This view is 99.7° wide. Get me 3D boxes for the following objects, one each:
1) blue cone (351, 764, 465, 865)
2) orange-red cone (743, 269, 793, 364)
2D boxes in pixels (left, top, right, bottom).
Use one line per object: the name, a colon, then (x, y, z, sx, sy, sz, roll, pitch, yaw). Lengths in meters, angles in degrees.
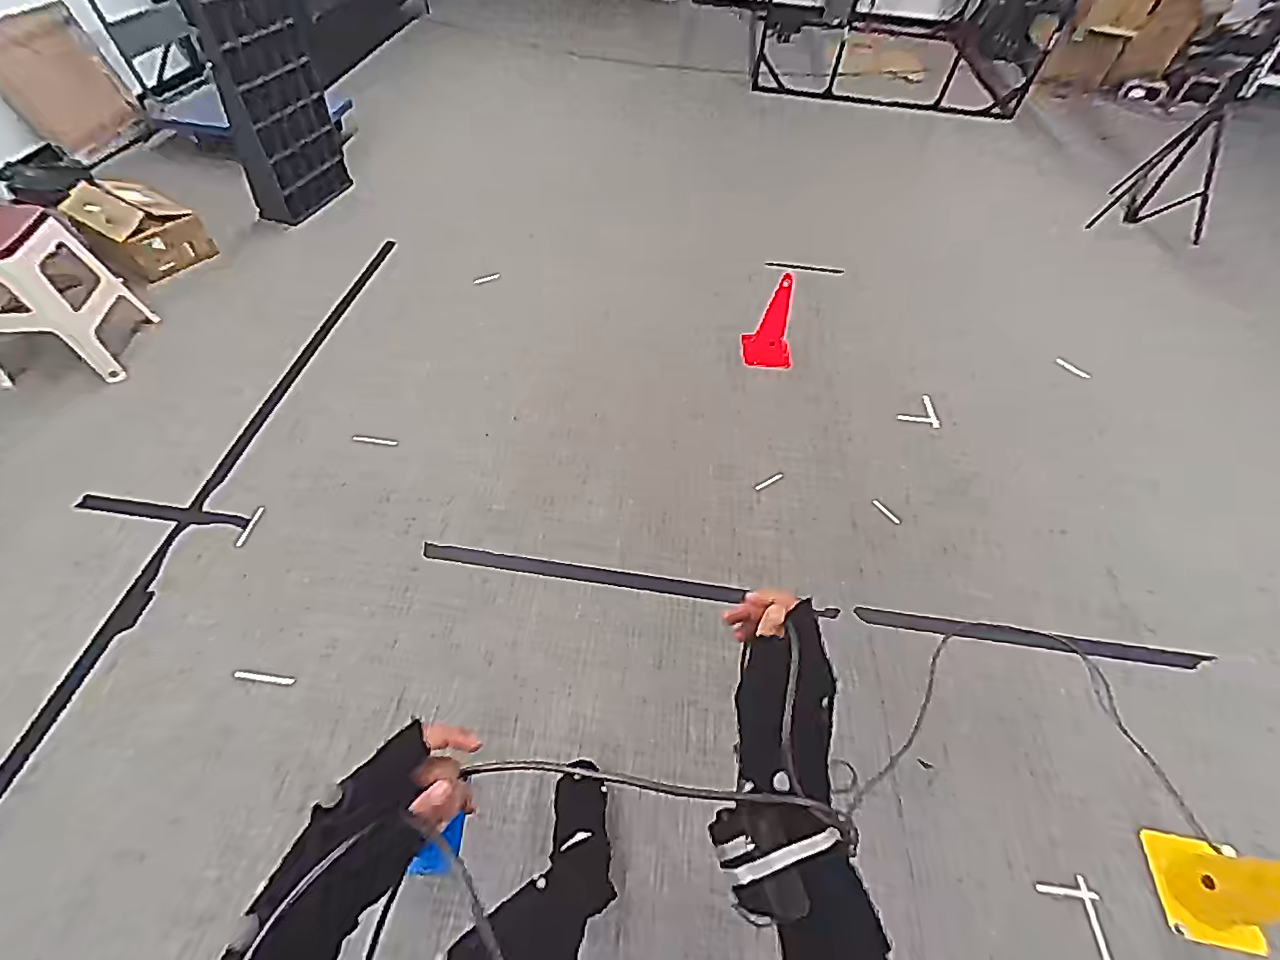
blue cone: (-0.487, 0.640, 1.069, 0.193, 0.380, 0.192, 3, 53, -1)
orange-red cone: (0.537, -0.657, 2.120, 0.199, 0.360, 0.198, 3, 52, 0)
